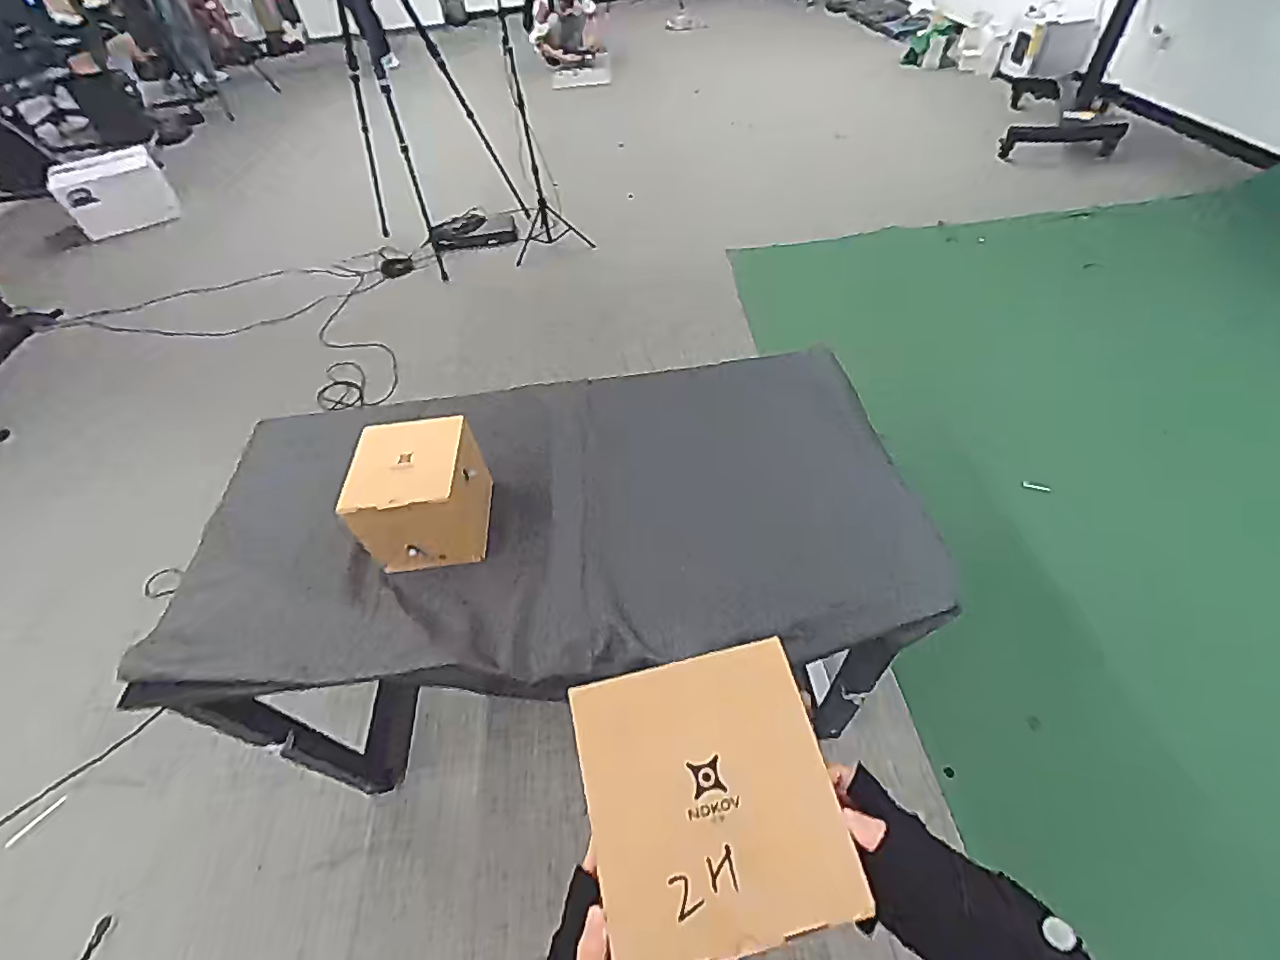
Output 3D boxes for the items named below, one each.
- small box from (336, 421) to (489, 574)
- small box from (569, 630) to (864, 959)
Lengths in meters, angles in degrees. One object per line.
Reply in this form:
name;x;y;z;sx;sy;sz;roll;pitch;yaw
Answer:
small box;-0.352;0.029;0.879;0.168;0.176;0.179;-7;50;0
small box;0.044;0.243;0.437;0.168;0.176;0.179;-12;61;-4
